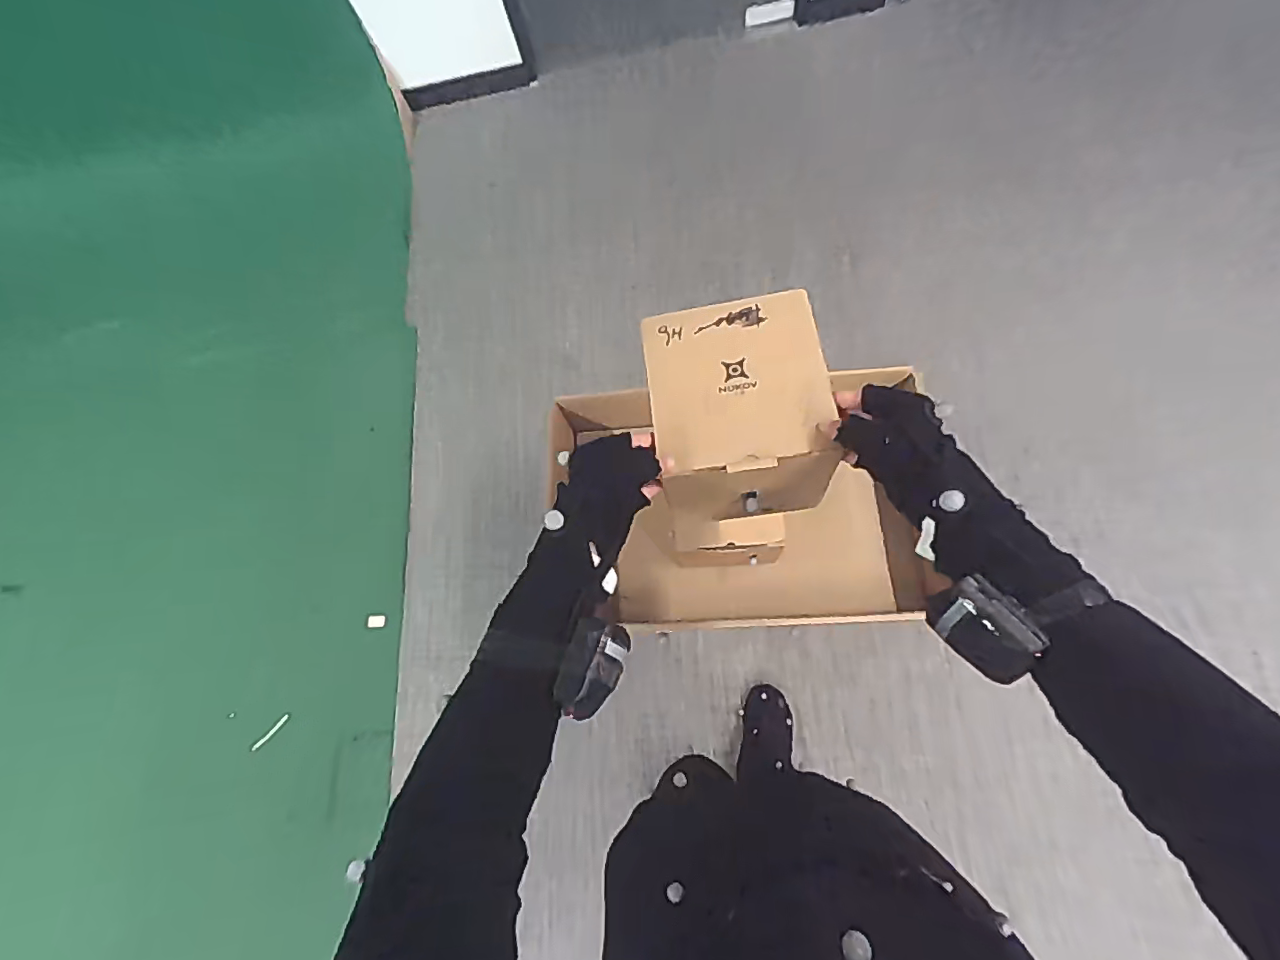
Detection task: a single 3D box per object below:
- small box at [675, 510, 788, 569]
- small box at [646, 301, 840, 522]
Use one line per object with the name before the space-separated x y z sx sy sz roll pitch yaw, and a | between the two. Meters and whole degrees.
small box | 0.145 0.050 0.900 0.168 0.176 0.179 -5 70 6
small box | 0.106 -0.059 0.589 0.168 0.176 0.179 -8 69 7
